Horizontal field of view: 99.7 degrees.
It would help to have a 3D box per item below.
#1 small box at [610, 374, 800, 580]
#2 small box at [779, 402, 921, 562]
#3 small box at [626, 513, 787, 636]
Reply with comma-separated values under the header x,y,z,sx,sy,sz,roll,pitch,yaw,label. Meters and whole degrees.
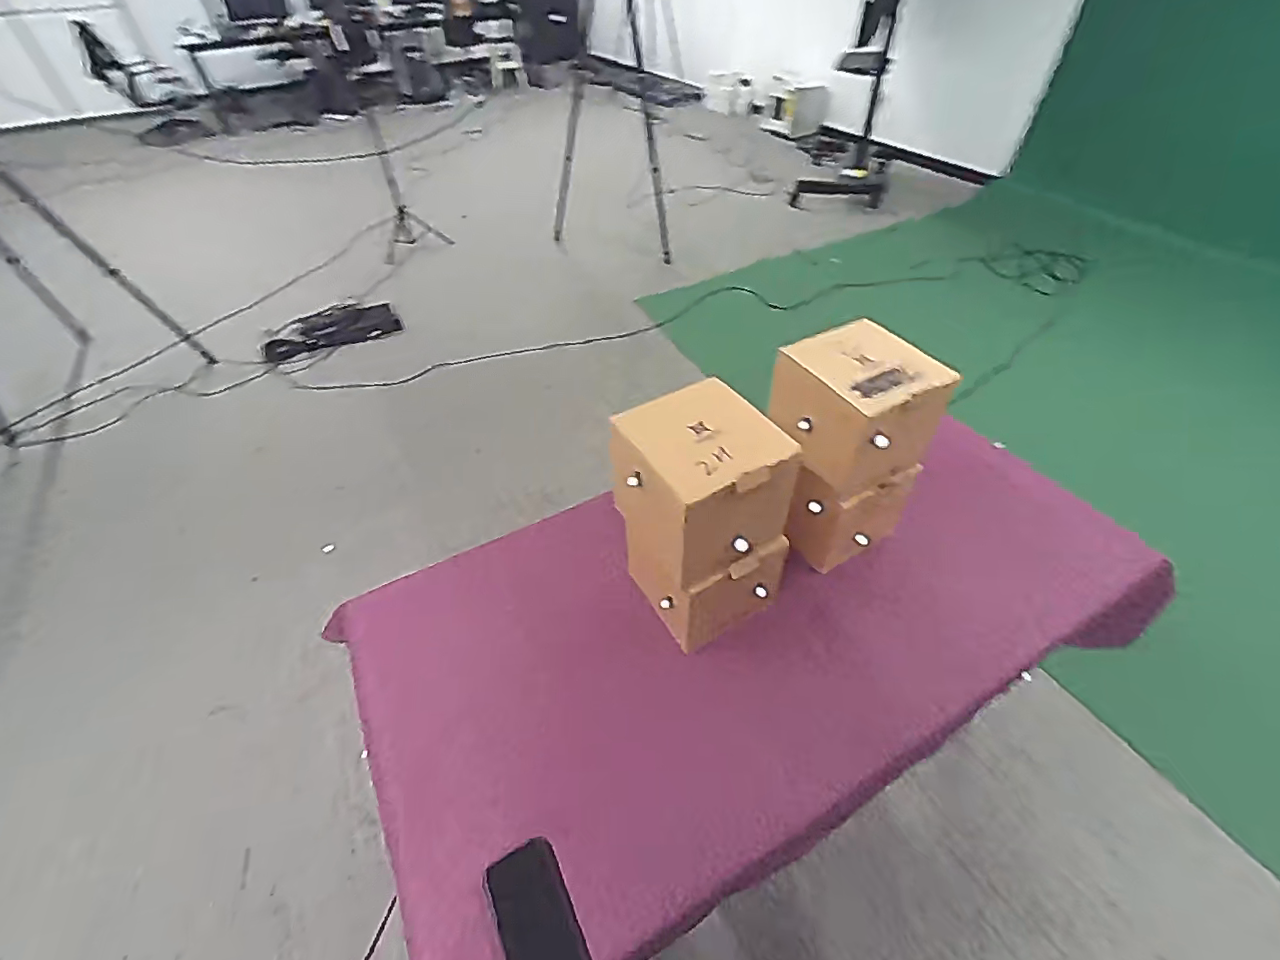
x,y,z,sx,sy,sz,roll,pitch,yaw,label
0.074,-0.005,0.702,0.168,0.176,0.179,-25,51,-19,small box
0.319,0.003,0.908,0.168,0.176,0.179,-24,51,-18,small box
0.094,0.111,0.819,0.168,0.176,0.179,-24,50,-19,small box
